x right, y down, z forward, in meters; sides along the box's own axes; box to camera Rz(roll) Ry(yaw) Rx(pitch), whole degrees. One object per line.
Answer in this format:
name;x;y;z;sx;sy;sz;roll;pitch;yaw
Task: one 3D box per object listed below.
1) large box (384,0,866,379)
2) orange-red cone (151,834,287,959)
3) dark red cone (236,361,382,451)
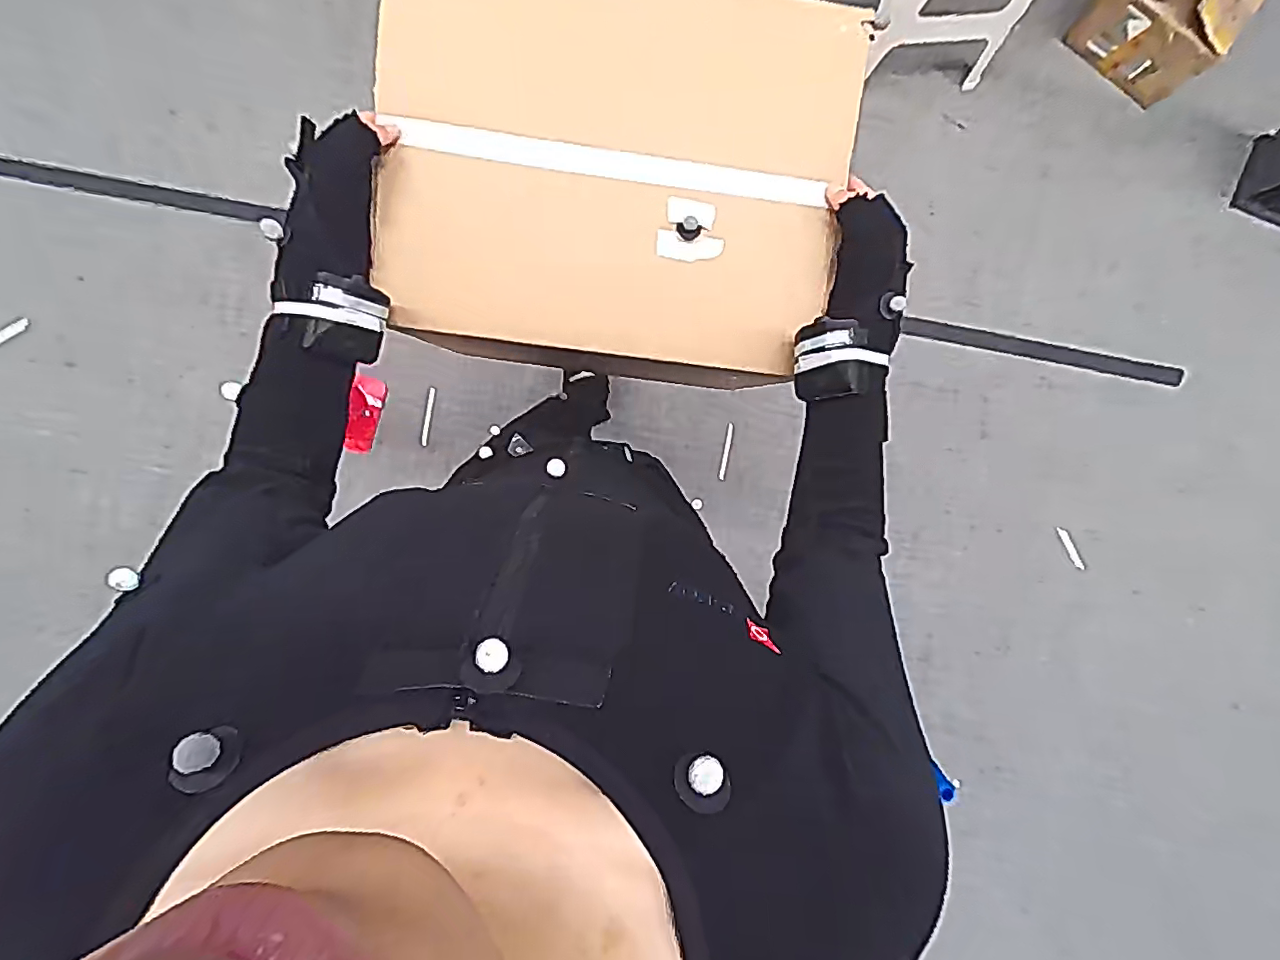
large box;-0.027;-0.298;0.617;0.408;0.320;0.320;6;98;-5
orange-red cone;-1.063;1.081;1.304;0.198;0.360;0.199;7;94;-1
dark red cone;-0.766;-0.183;1.222;0.201;0.394;0.202;16;93;-4
